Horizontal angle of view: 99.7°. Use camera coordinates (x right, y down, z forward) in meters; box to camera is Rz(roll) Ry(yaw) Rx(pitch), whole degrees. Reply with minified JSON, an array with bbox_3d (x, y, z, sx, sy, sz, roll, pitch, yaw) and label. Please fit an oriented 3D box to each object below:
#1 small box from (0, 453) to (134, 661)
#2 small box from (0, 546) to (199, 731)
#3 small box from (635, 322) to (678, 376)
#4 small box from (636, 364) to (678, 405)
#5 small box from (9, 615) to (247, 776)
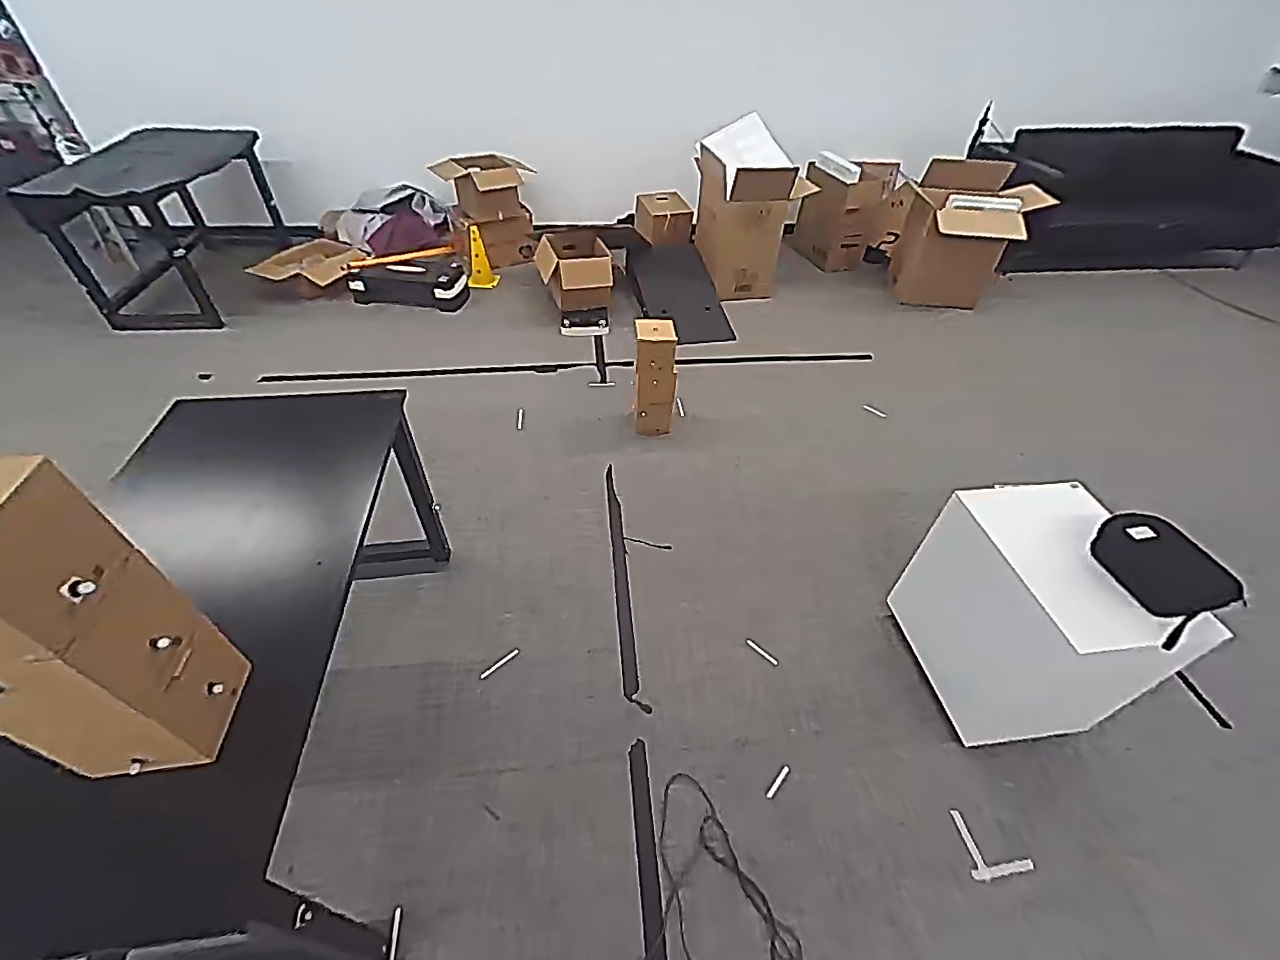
[{"bbox_3d":[-0.736,0.091,0.594,0.179,0.176,0.168,-4,46,-8],"label":"small box"},{"bbox_3d":[-0.743,0.208,0.706,0.179,0.176,0.168,-4,45,-7],"label":"small box"},{"bbox_3d":[0.069,-0.578,2.376,0.168,0.176,0.179,-1,45,-5],"label":"small box"},{"bbox_3d":[0.072,-0.457,2.485,0.179,0.176,0.168,-2,44,-7],"label":"small box"},{"bbox_3d":[-0.747,0.327,0.821,0.179,0.176,0.168,-4,44,-8],"label":"small box"}]
